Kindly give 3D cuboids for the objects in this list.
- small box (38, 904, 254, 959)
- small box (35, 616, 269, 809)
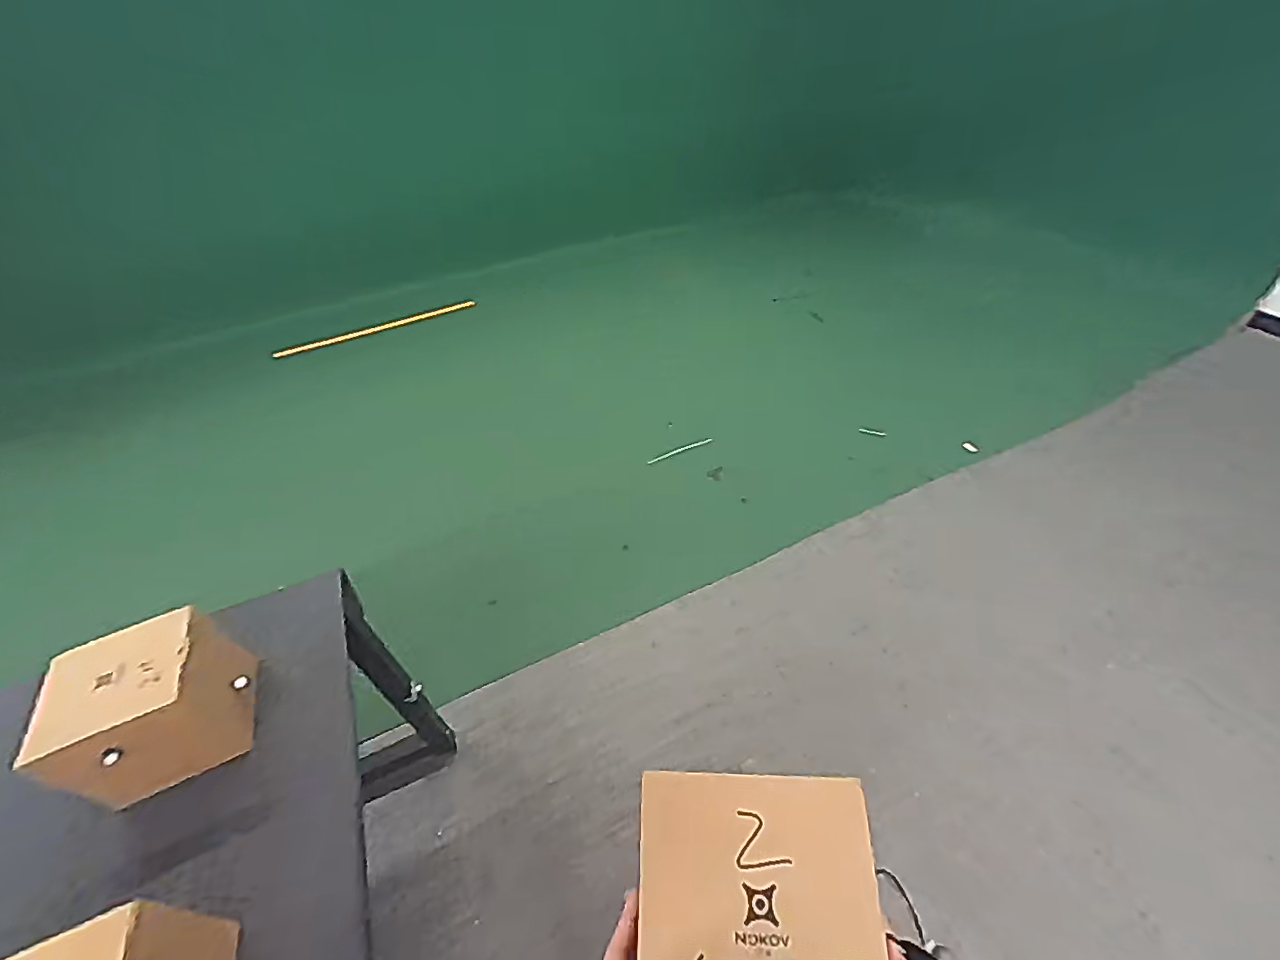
[{"bbox_3d":[-0.525,0.566,0.527,0.179,0.176,0.168,-21,44,-13],"label":"small box"},{"bbox_3d":[-0.682,0.339,0.785,0.179,0.176,0.168,-23,46,-14],"label":"small box"}]
